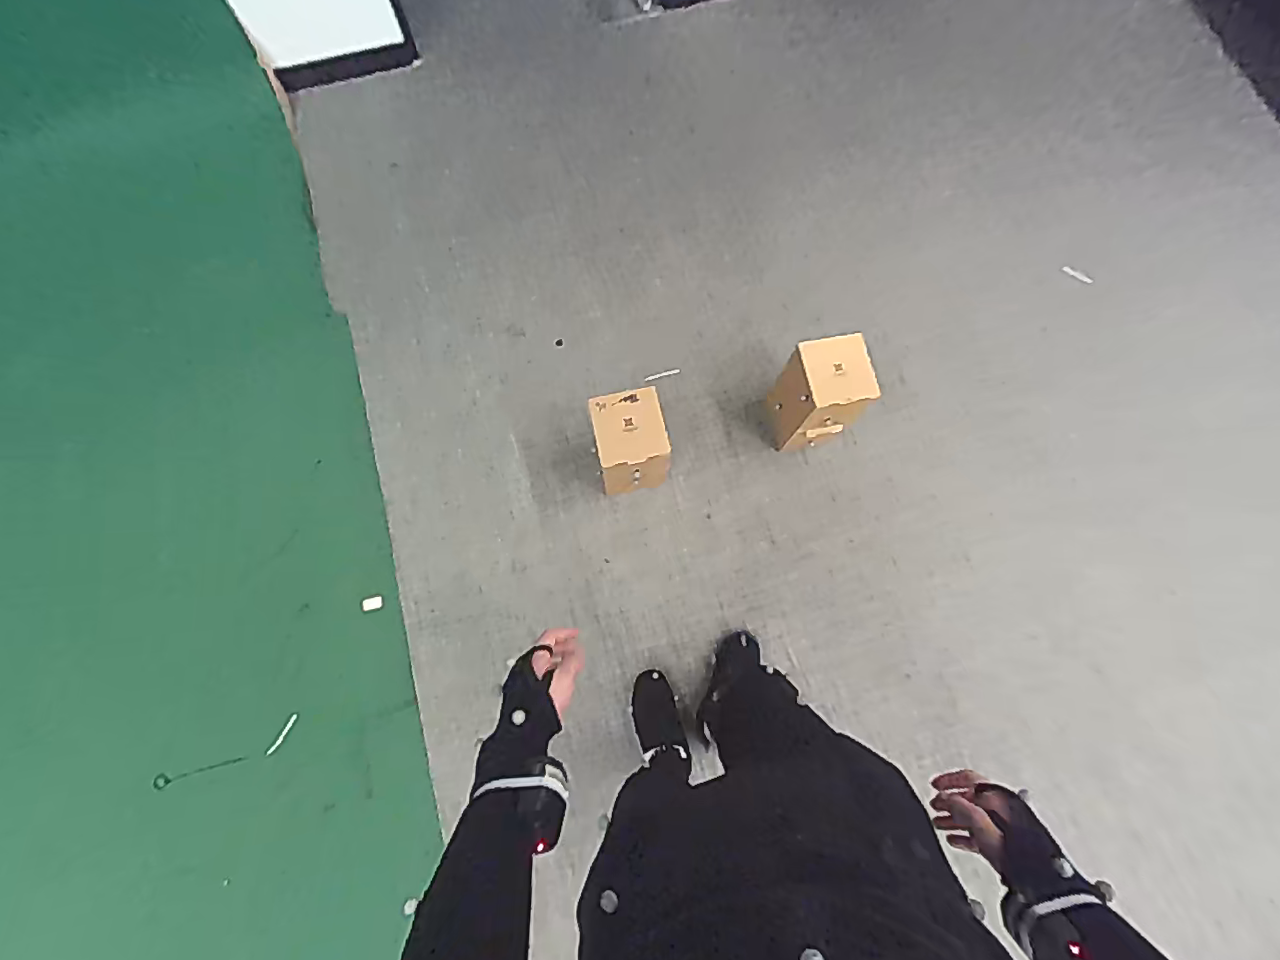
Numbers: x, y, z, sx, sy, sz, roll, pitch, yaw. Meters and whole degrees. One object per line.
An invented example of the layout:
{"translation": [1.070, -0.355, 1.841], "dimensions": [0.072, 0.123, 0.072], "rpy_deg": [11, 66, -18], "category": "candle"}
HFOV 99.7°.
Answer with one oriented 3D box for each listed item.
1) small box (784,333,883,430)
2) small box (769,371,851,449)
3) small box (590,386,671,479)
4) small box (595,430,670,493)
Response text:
{"translation": [0.481, -0.246, 1.375], "dimensions": [0.168, 0.176, 0.179], "rpy_deg": [-10, 76, -4], "category": "small box"}
{"translation": [0.472, -0.201, 1.529], "dimensions": [0.168, 0.176, 0.179], "rpy_deg": [-5, 77, 0], "category": "small box"}
{"translation": [-0.022, -0.108, 1.330], "dimensions": [0.168, 0.176, 0.179], "rpy_deg": [-11, 77, -4], "category": "small box"}
{"translation": [-0.021, -0.072, 1.490], "dimensions": [0.179, 0.176, 0.168], "rpy_deg": [-11, 76, -4], "category": "small box"}
